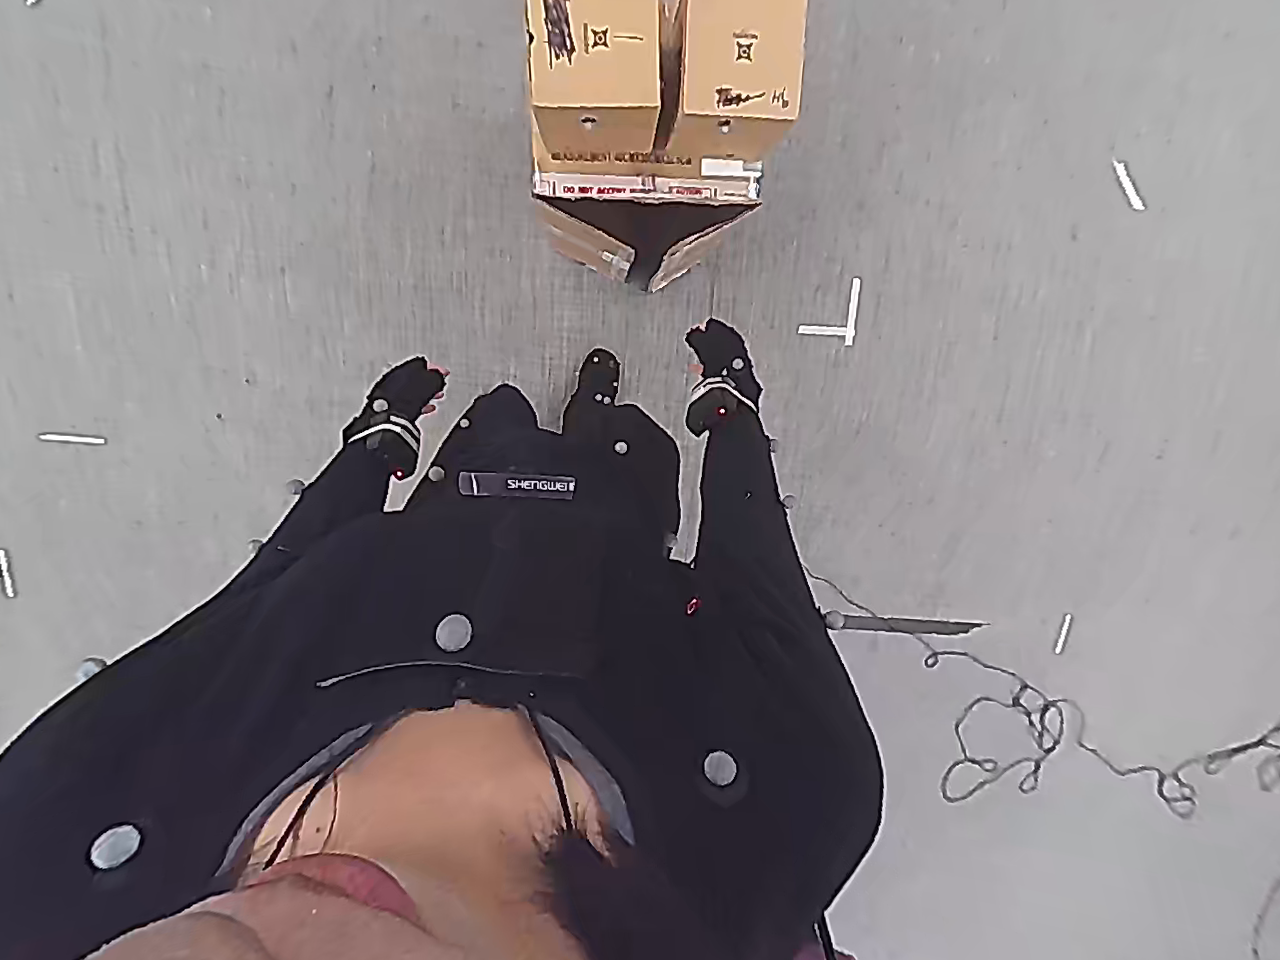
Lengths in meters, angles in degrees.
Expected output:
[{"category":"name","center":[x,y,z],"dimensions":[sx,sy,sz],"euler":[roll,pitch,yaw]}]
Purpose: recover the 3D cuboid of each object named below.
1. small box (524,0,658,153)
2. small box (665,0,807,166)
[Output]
[{"category":"small box","center":[-0.067,-0.596,0.789],"dimensions":[0.179,0.176,0.168],"euler":[-2,103,-3]},{"category":"small box","center":[0.131,-0.598,0.805],"dimensions":[0.168,0.176,0.179],"euler":[0,102,-6]}]
